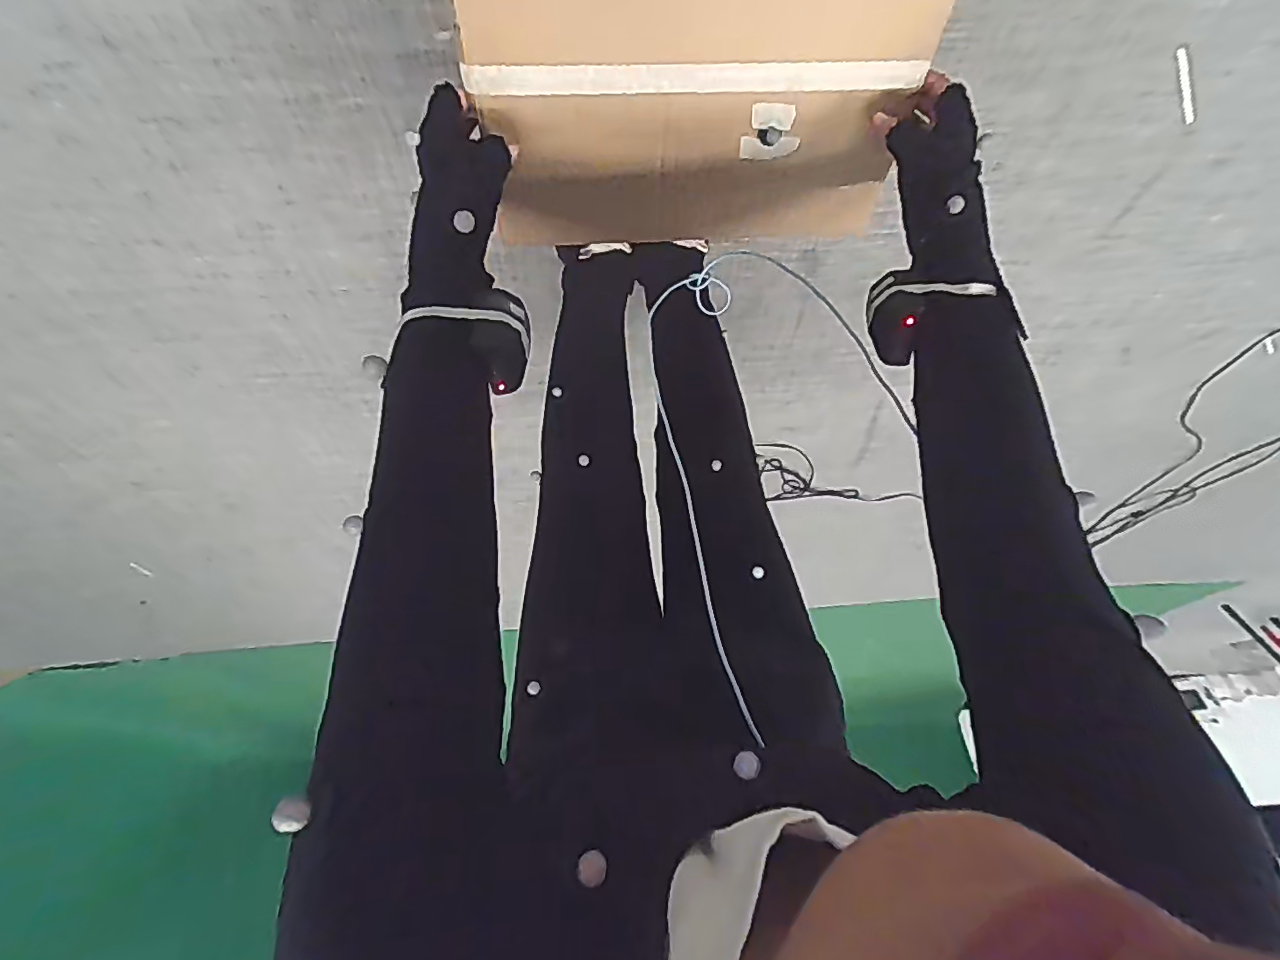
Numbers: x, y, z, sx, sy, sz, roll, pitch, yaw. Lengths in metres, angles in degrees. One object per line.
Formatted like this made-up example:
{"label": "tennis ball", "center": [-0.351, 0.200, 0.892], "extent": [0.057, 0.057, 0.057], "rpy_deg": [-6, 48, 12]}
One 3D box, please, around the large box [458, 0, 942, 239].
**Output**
{"label": "large box", "center": [0.035, -0.486, 0.552], "extent": [0.408, 0.320, 0.320], "rpy_deg": [-6, 147, -5]}
